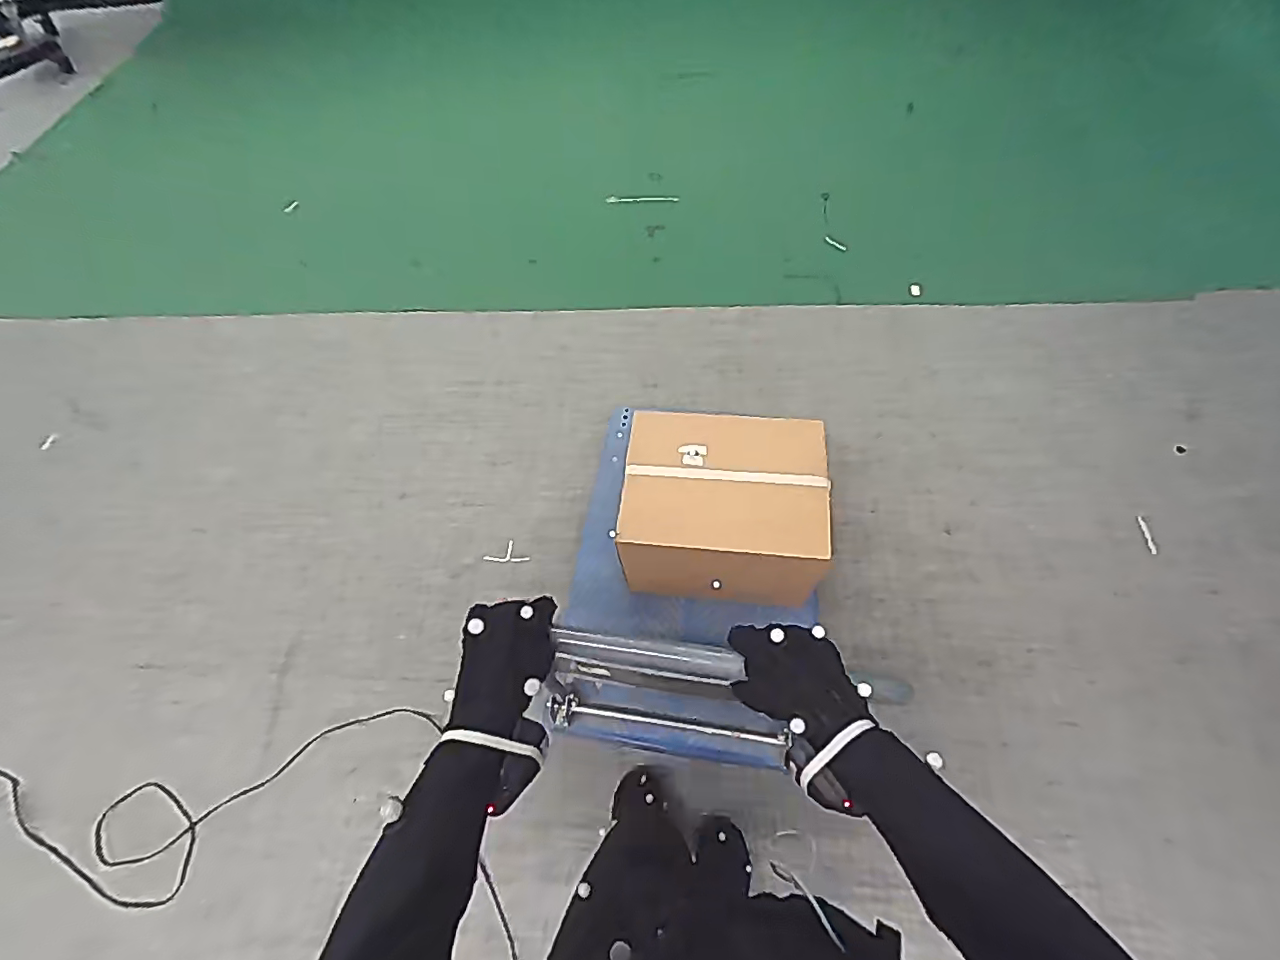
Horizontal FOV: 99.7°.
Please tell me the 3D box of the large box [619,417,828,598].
[{"bbox_3d":[0.184,0.070,1.230,0.408,0.320,0.320,3,61,8],"label":"large box"}]
